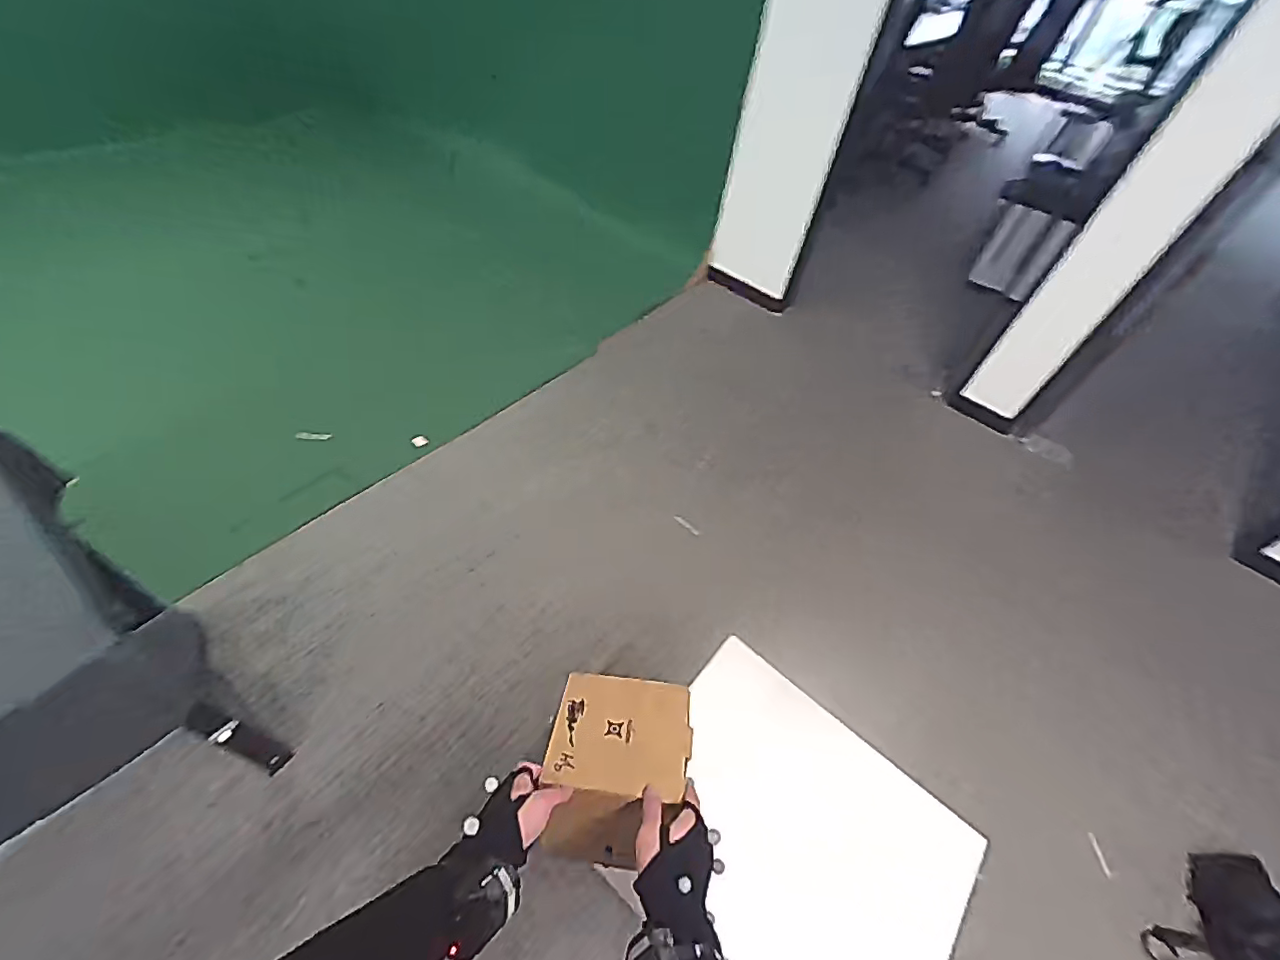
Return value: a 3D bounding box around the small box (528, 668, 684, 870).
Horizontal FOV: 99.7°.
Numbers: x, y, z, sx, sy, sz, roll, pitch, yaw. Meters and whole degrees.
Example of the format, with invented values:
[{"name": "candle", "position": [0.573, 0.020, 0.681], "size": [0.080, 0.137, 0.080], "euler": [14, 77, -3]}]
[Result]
[{"name": "small box", "position": [-0.042, 0.384, 0.721], "size": [0.179, 0.176, 0.168], "euler": [7, 29, 3]}]
